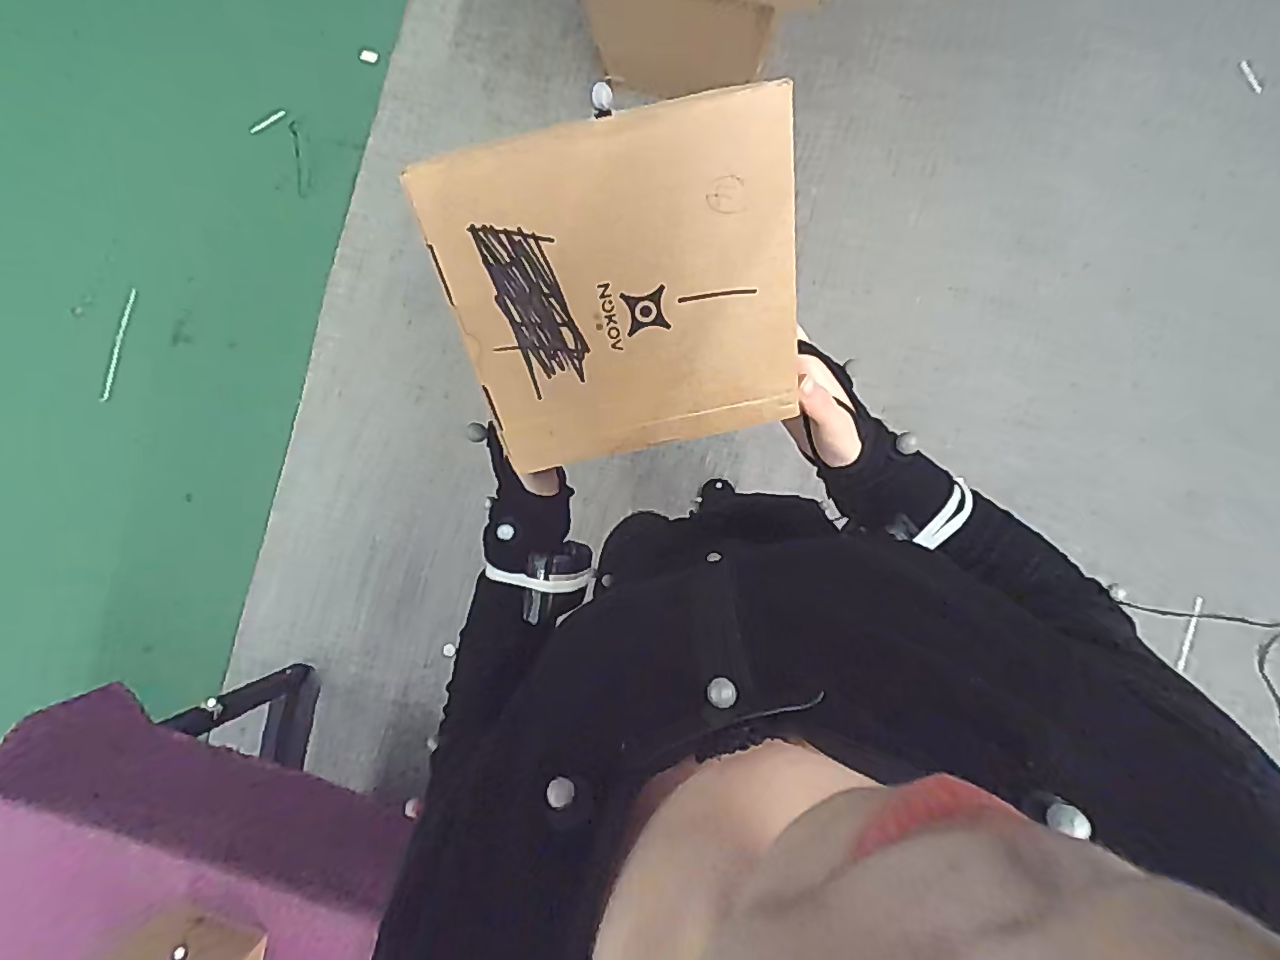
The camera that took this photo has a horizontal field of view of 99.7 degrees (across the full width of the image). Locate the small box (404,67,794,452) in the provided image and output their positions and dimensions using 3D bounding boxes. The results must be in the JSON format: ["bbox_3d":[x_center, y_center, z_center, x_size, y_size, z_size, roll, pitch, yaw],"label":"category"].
[{"bbox_3d":[-0.013,-0.140,0.343,0.179,0.176,0.168,-10,125,1],"label":"small box"}]
